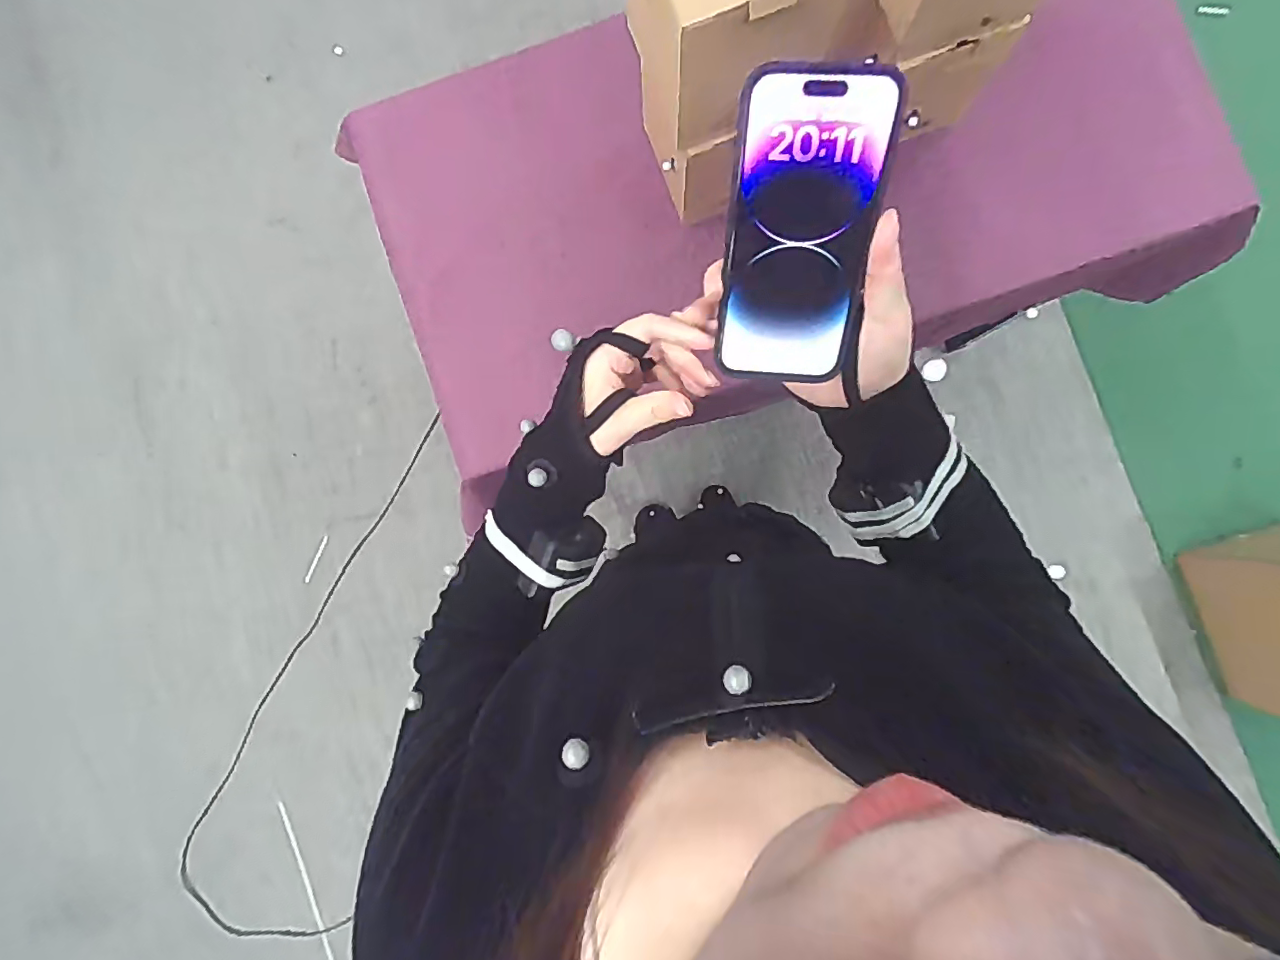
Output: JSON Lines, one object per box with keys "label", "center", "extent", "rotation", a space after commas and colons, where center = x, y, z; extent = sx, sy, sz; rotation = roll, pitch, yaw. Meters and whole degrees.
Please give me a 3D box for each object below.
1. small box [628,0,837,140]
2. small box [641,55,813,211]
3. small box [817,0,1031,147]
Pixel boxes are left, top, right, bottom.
{"label": "small box", "center": [0.085, -0.507, 0.561], "extent": [0.168, 0.176, 0.179], "rotation": [-21, 87, 2]}
{"label": "small box", "center": [0.108, -0.494, 0.724], "extent": [0.168, 0.176, 0.179], "rotation": [-20, 86, 2]}
{"label": "small box", "center": [0.354, -0.592, 0.713], "extent": [0.168, 0.176, 0.179], "rotation": [-20, 88, 3]}
